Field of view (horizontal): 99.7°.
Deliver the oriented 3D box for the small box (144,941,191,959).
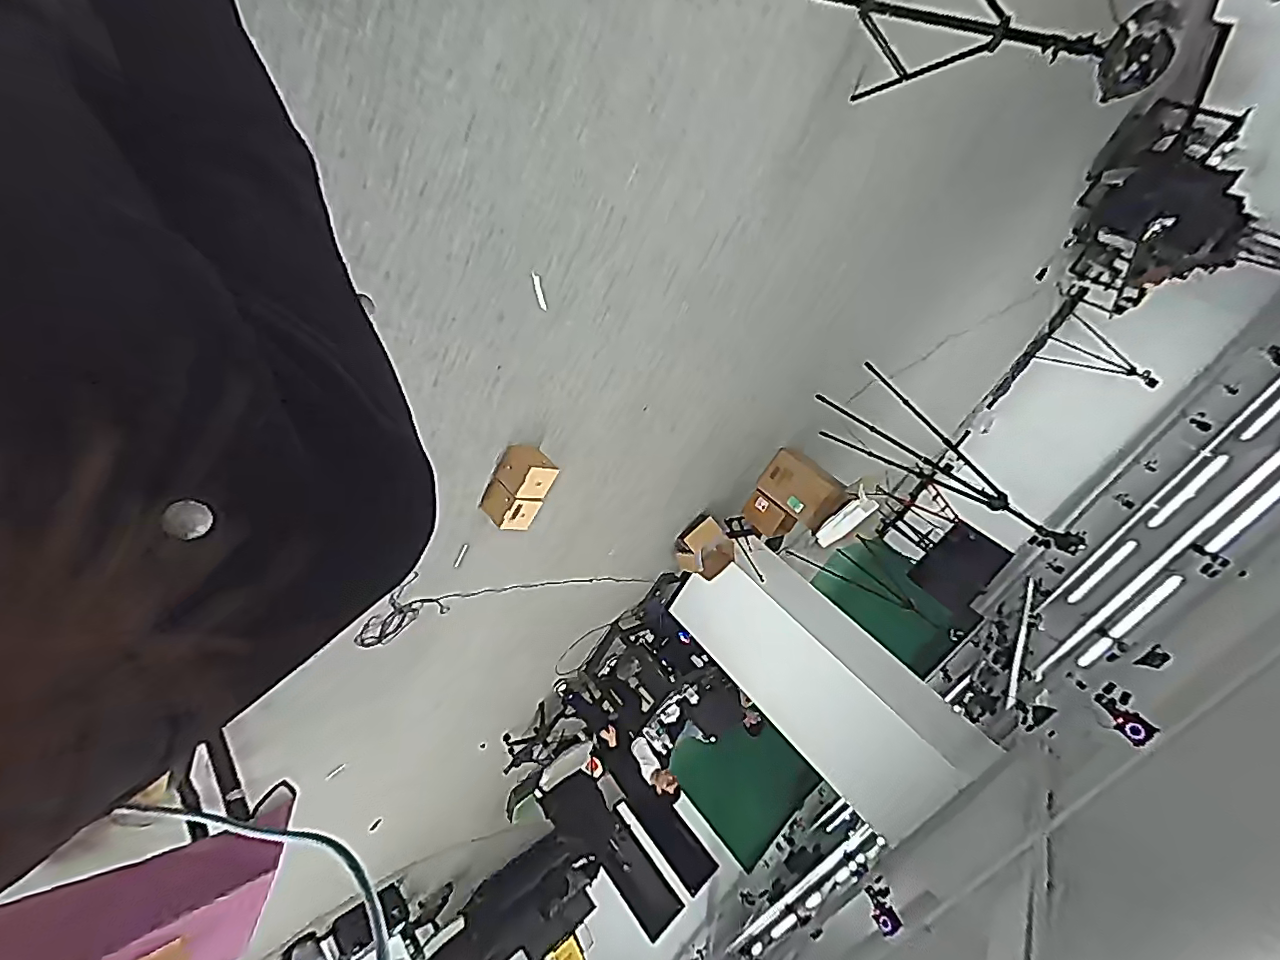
[{"bbox_3d":[-1.425,1.515,1.582,0.168,0.176,0.179,-2,127,-53],"label":"small box"}]
